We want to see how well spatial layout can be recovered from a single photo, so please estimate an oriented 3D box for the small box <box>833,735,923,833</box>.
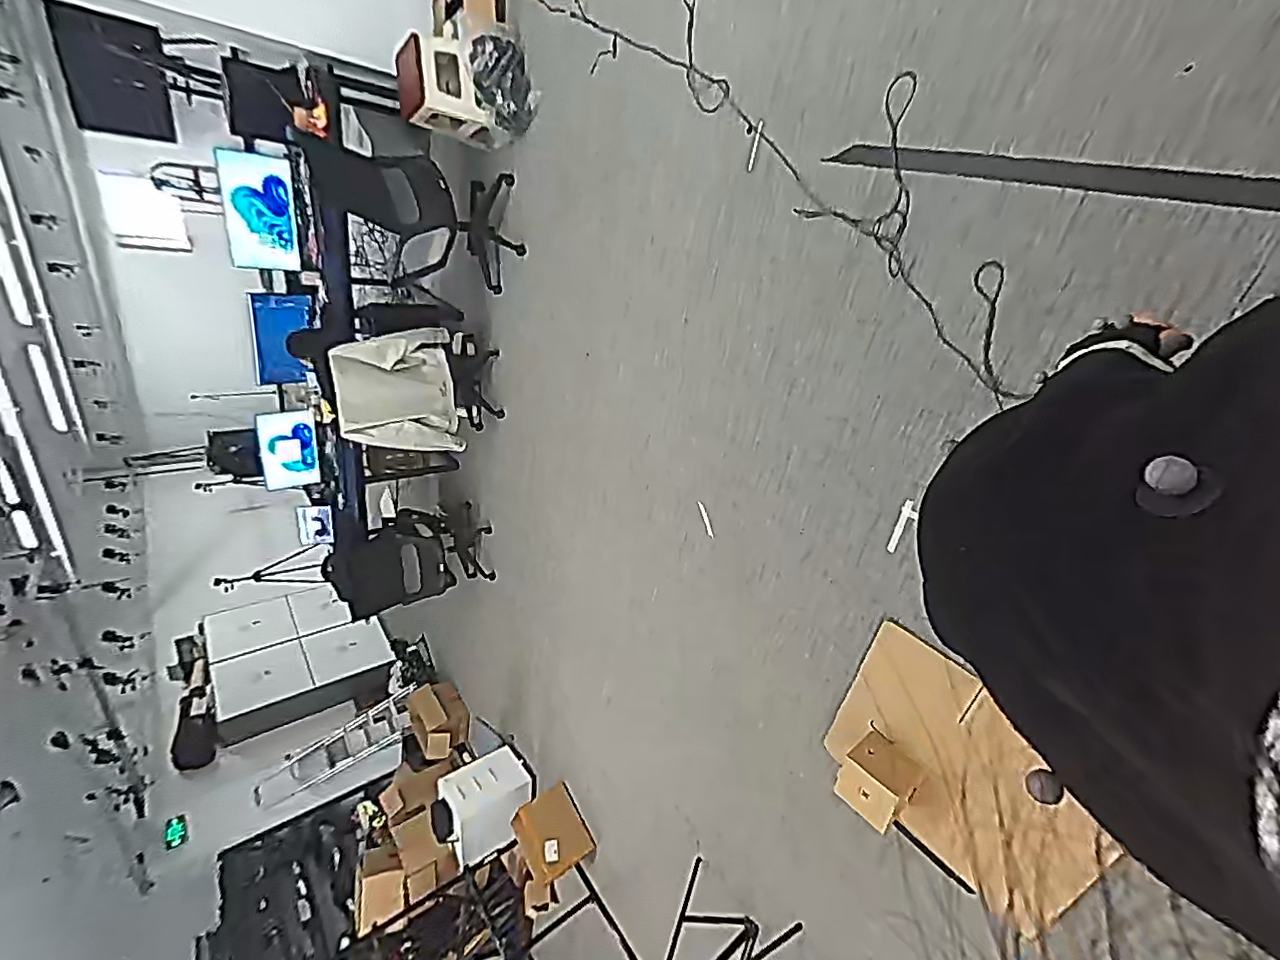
[{"bbox_3d":[0.736,0.926,1.672,0.179,0.176,0.168,30,123,42],"label":"small box"}]
